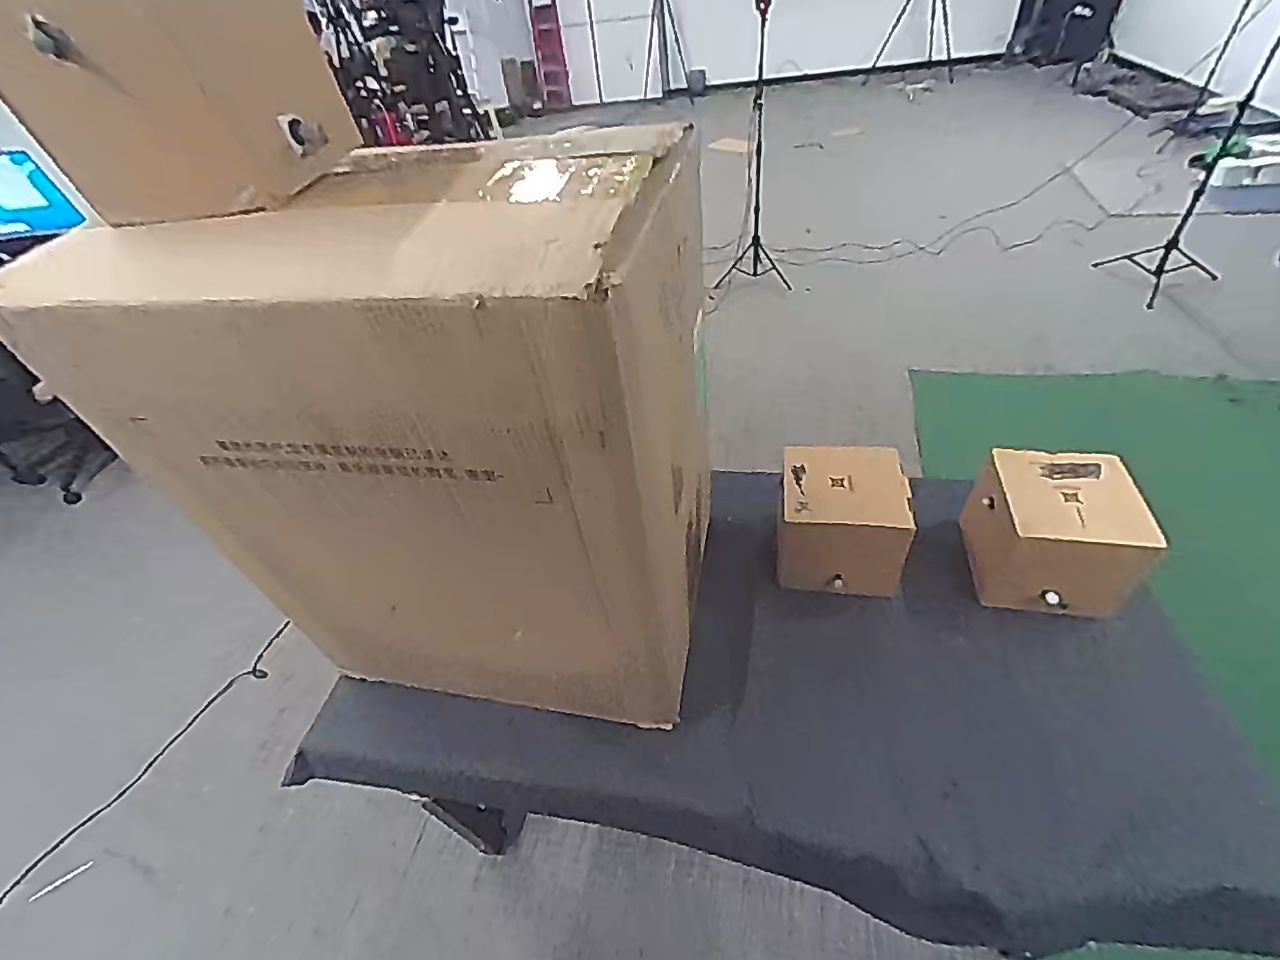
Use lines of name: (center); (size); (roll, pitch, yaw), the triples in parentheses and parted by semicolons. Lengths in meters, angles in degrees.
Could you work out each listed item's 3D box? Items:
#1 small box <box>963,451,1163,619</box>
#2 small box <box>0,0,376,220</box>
small box: (0.605, 0.079, 0.807); (0.168, 0.176, 0.179); (4, 46, 14)
small box: (-0.372, -0.341, 0.464); (0.179, 0.176, 0.168); (1, 50, 9)
